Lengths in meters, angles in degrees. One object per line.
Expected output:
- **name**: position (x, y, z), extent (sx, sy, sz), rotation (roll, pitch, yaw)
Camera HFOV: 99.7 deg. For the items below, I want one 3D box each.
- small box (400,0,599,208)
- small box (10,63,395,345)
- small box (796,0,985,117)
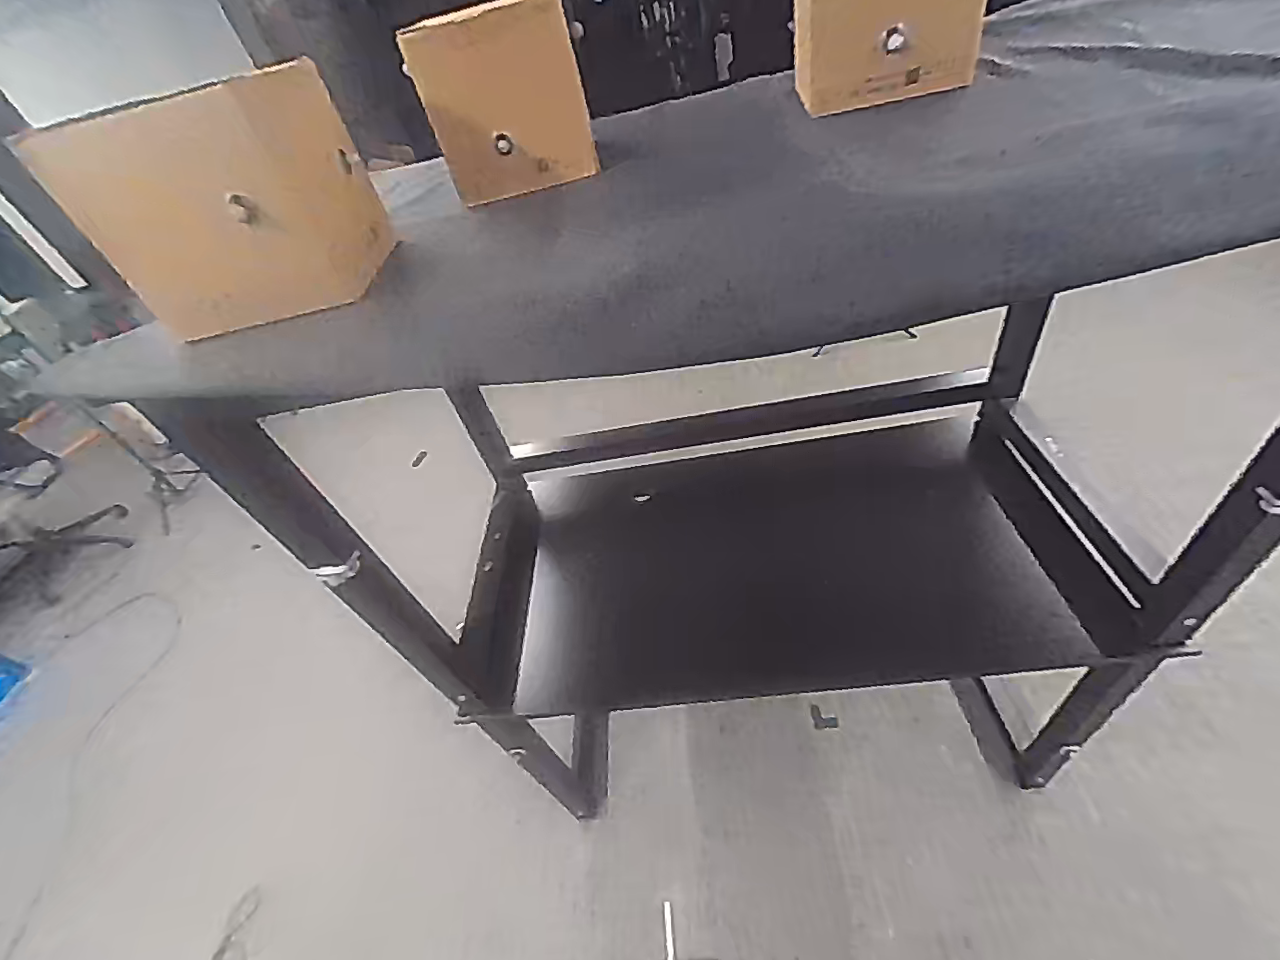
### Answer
- **small box**: position (-0.150, -0.446, 0.640), extent (0.168, 0.176, 0.179), rotation (-13, 44, 3)
- **small box**: position (-0.354, -0.246, 0.489), extent (0.179, 0.176, 0.168), rotation (-12, 42, 4)
- **small box**: position (0.264, -0.525, 0.595), extent (0.168, 0.176, 0.179), rotation (-5, 45, 13)
